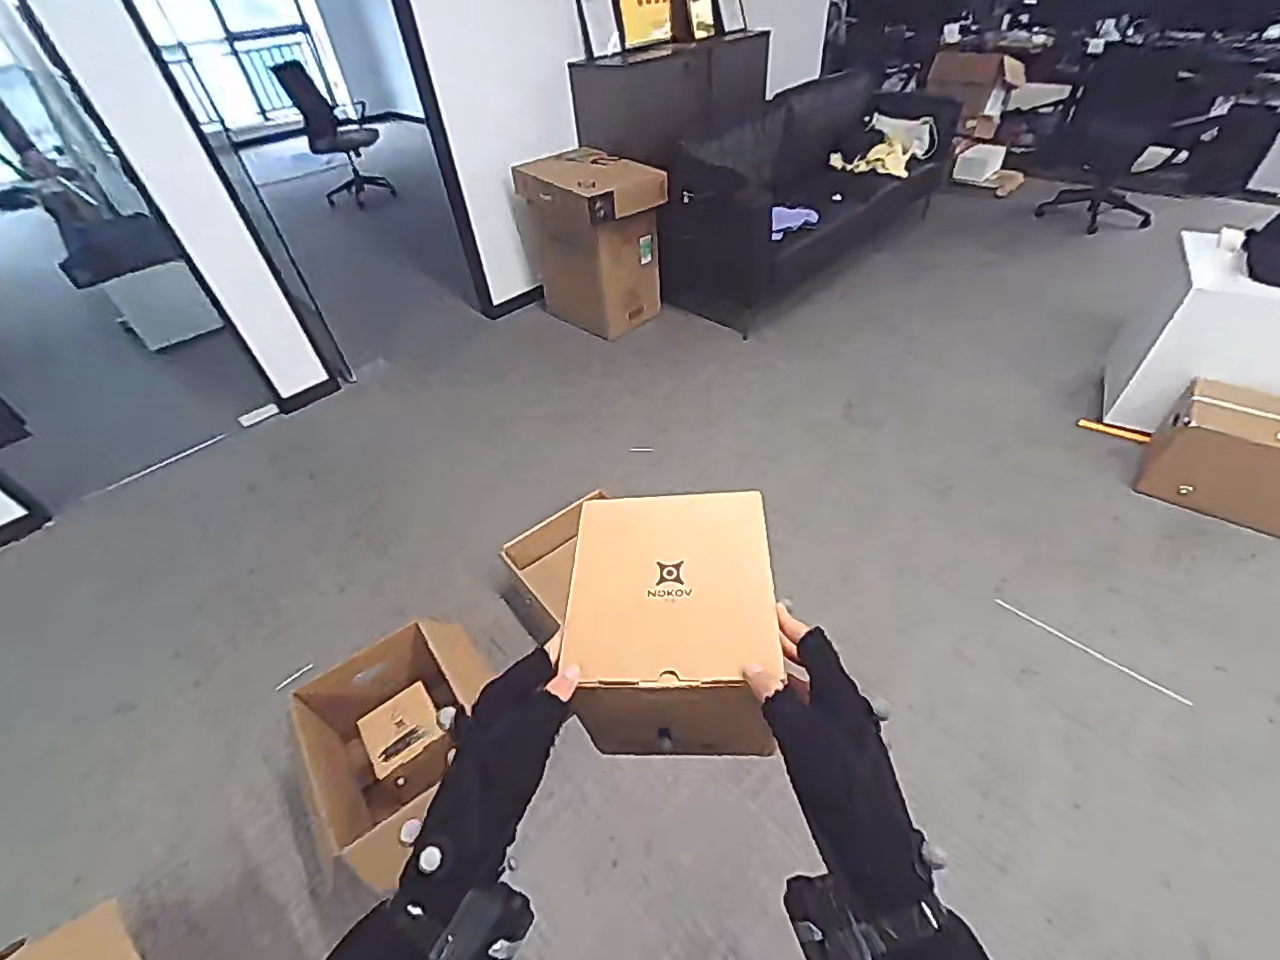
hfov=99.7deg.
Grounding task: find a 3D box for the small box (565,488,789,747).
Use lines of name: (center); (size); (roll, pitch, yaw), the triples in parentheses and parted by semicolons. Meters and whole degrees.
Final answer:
small box: (0.039, 0.129, 0.503); (0.168, 0.176, 0.179); (-4, 48, 8)
